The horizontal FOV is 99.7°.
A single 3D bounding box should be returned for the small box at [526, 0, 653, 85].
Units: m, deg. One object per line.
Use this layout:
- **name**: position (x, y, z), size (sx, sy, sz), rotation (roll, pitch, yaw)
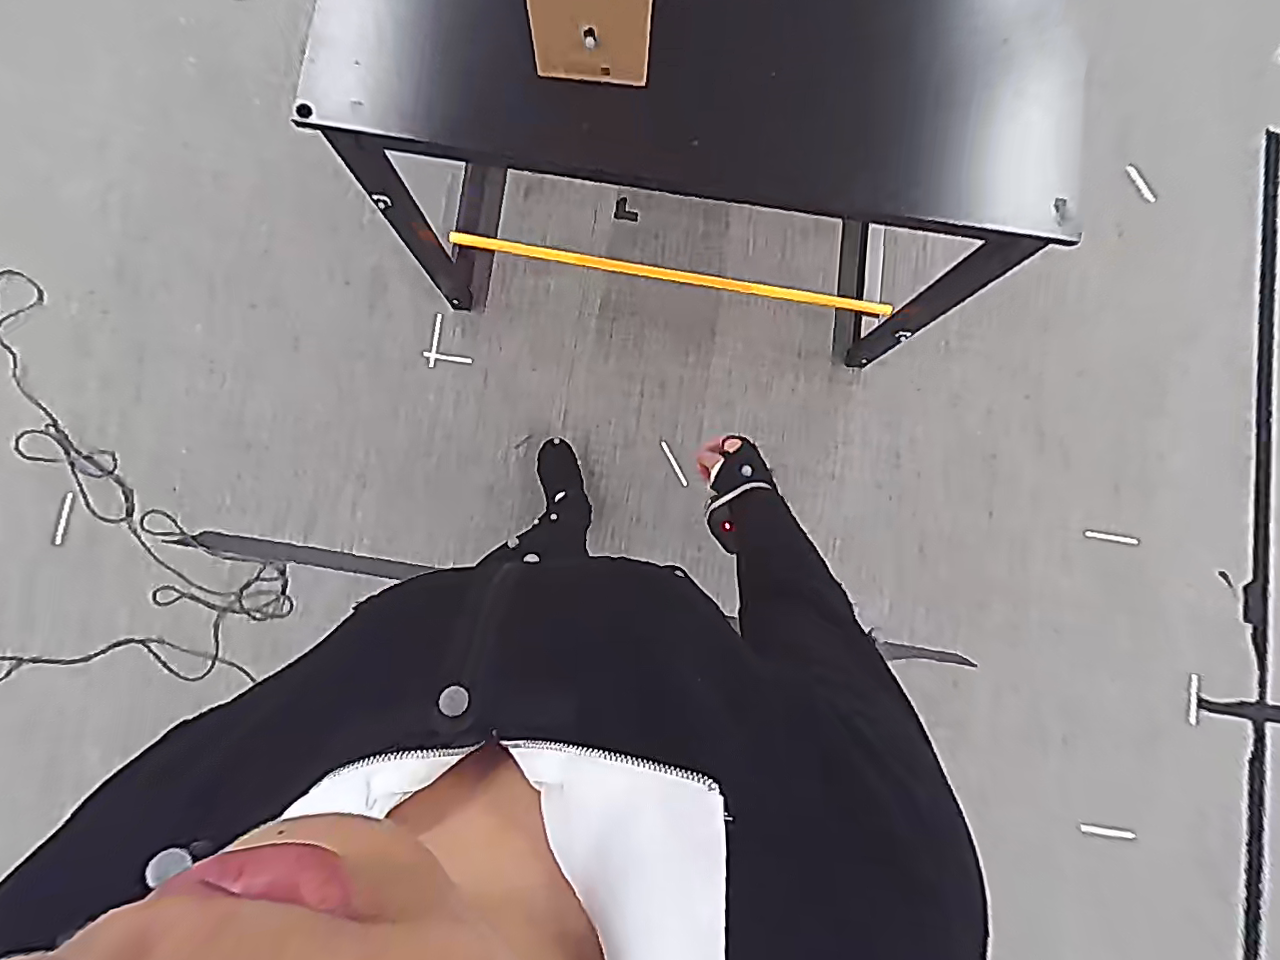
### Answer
- **small box**: position (-0.064, -0.702, 0.760), size (0.168, 0.176, 0.179), rotation (4, 85, -2)
